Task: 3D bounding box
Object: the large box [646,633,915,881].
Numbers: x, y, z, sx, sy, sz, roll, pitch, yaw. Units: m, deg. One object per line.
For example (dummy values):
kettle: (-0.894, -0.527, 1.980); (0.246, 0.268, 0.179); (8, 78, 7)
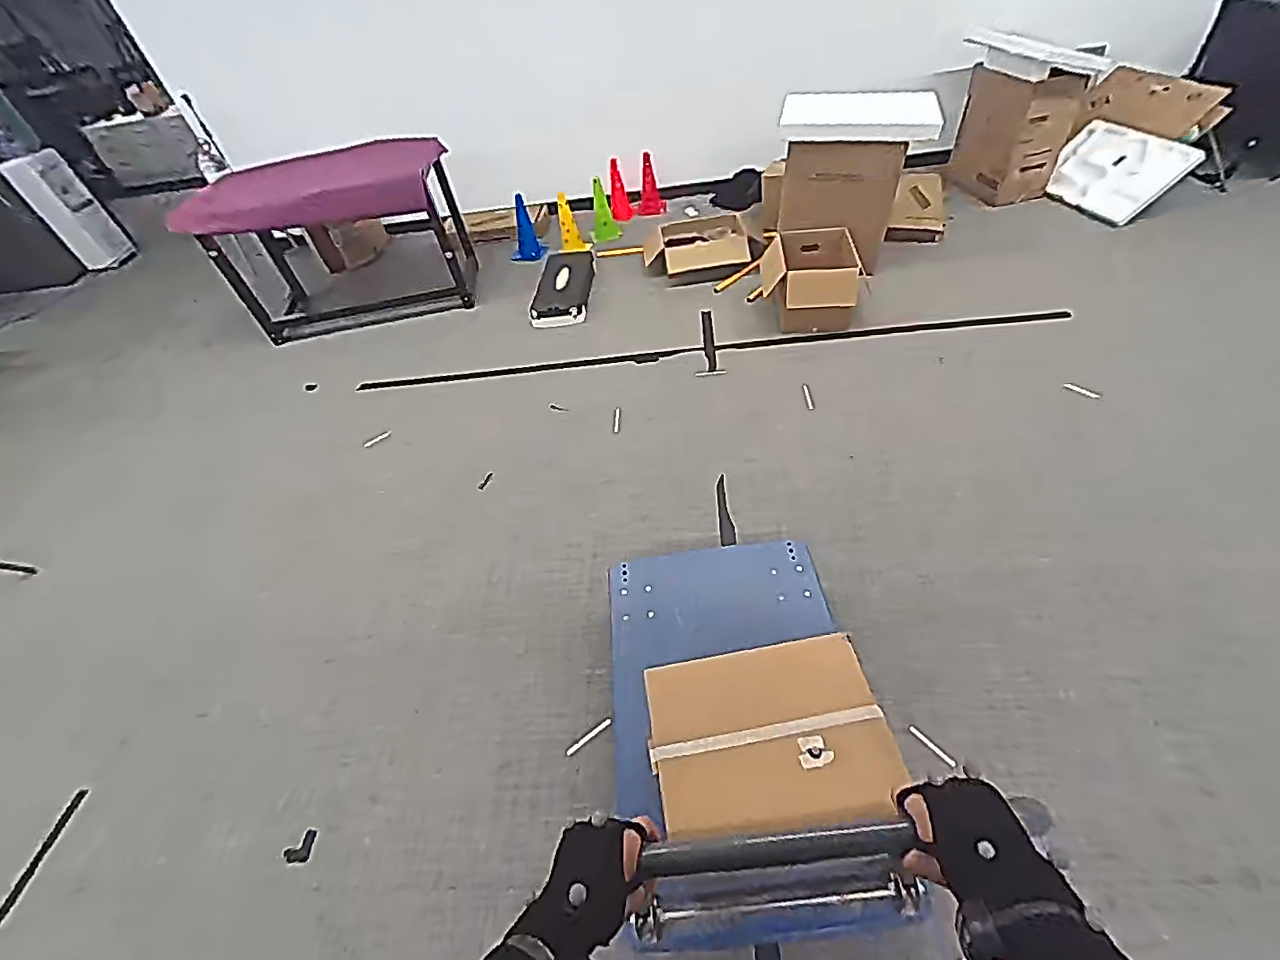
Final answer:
large box: (0.244, 0.550, 1.071); (0.408, 0.320, 0.320); (-11, 47, -1)
